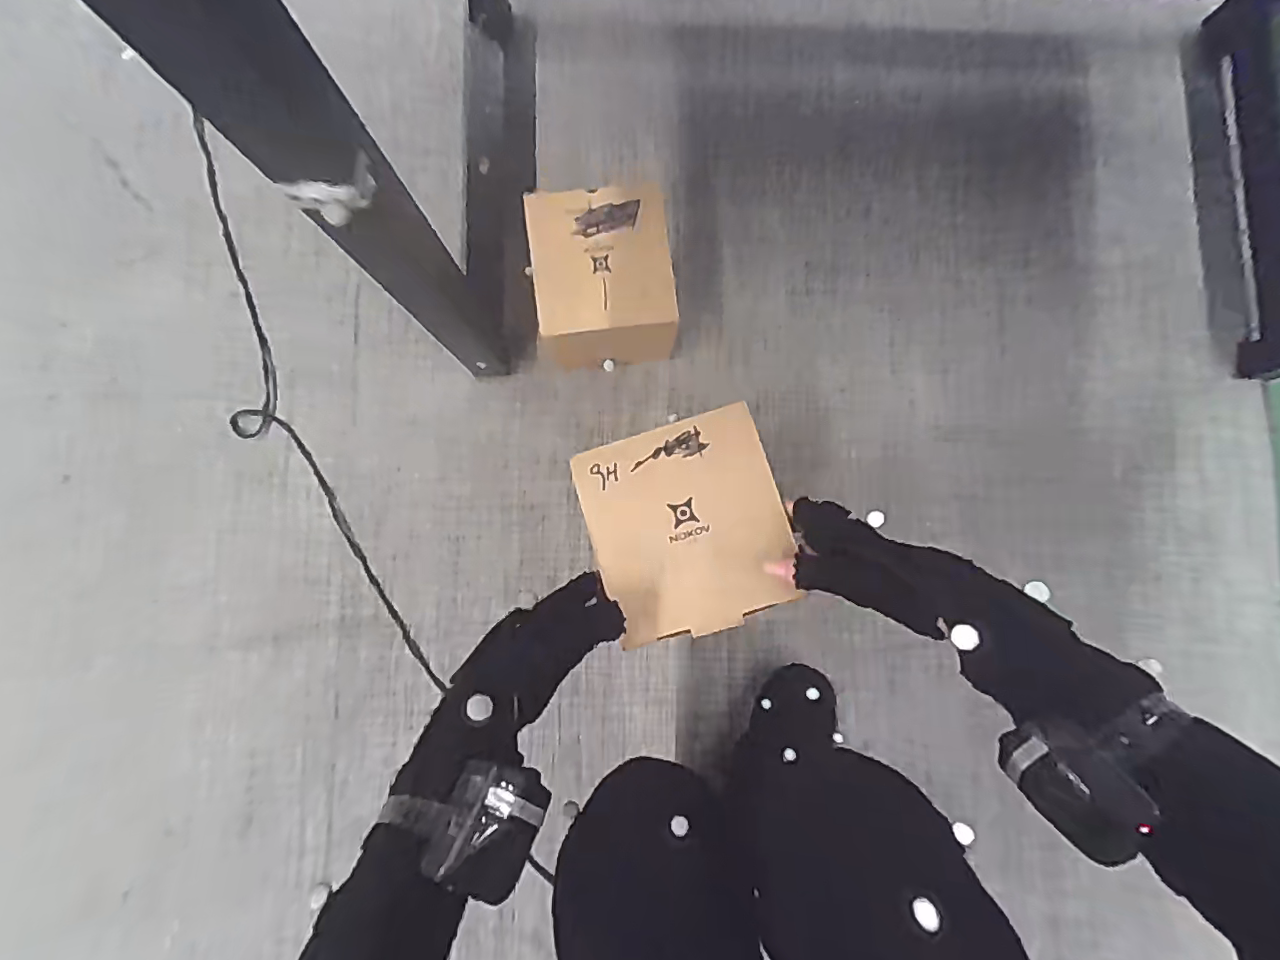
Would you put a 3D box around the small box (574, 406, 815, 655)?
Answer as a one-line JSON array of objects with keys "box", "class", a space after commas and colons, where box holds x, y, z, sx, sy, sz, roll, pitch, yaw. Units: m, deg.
[{"box": [0.052, 0.051, 0.532, 0.168, 0.176, 0.179, -18, 80, 4], "class": "small box"}]
